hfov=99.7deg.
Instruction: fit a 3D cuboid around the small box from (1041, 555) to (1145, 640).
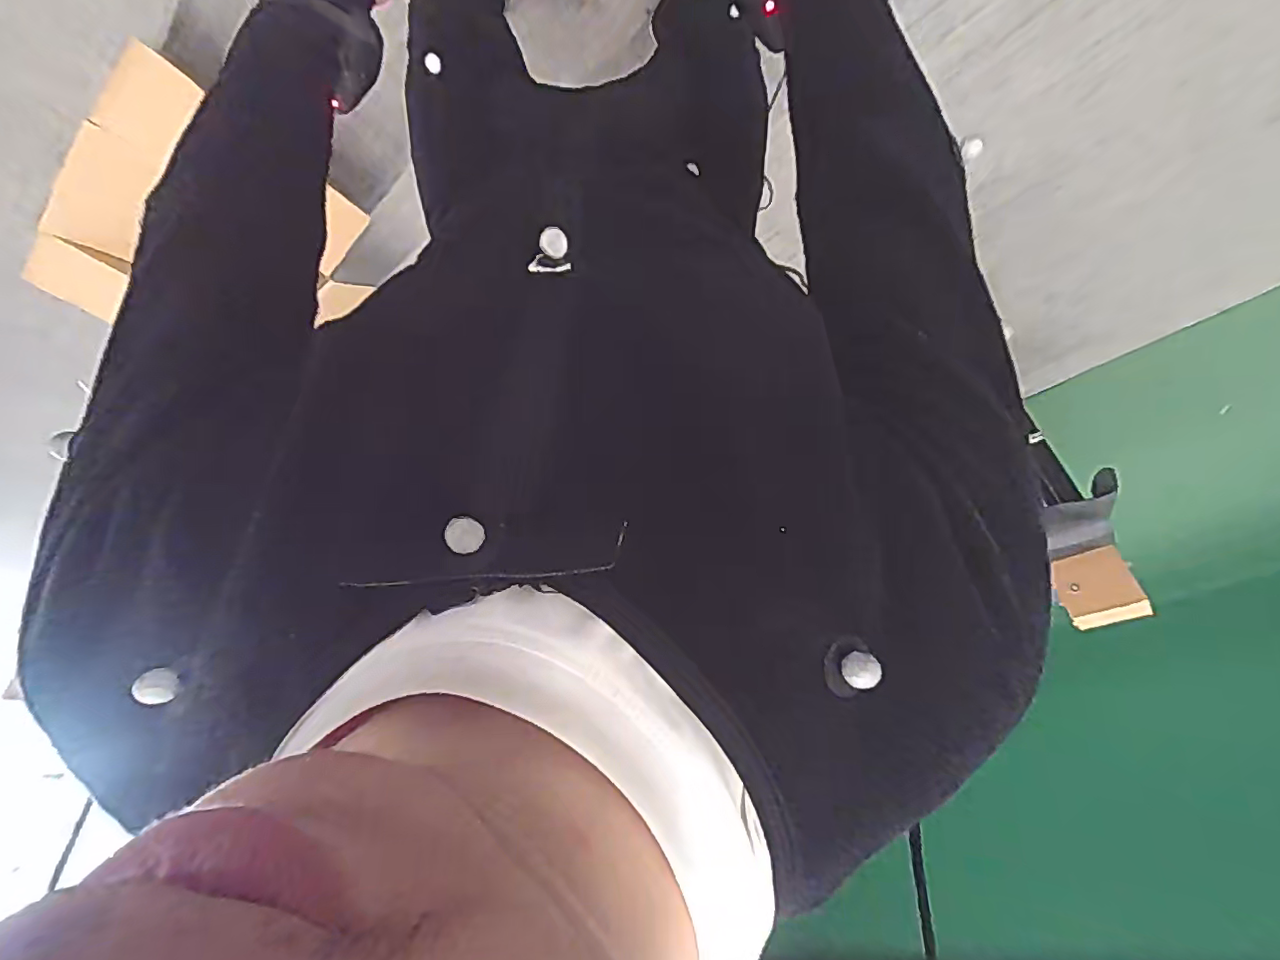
[{"bbox_3d":[1.284,0.337,1.546,0.179,0.176,0.168,-31,138,31],"label":"small box"}]
